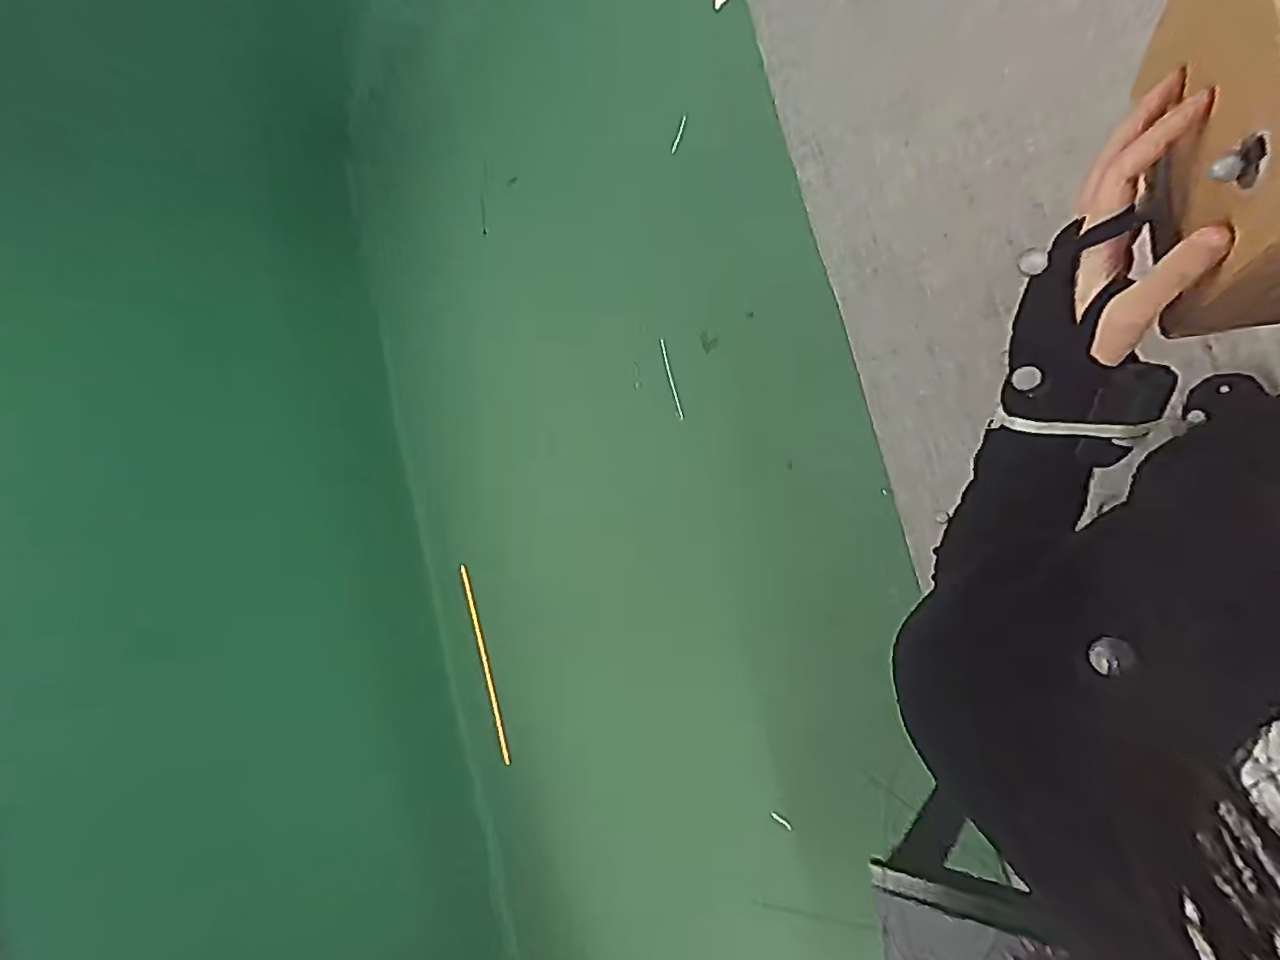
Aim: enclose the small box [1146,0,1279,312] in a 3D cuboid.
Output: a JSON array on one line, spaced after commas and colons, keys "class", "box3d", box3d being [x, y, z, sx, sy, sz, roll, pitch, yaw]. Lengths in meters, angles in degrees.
[{"class": "small box", "box3d": [0.343, -0.192, 0.220, 0.168, 0.176, 0.179, -5, 86, 31]}]
